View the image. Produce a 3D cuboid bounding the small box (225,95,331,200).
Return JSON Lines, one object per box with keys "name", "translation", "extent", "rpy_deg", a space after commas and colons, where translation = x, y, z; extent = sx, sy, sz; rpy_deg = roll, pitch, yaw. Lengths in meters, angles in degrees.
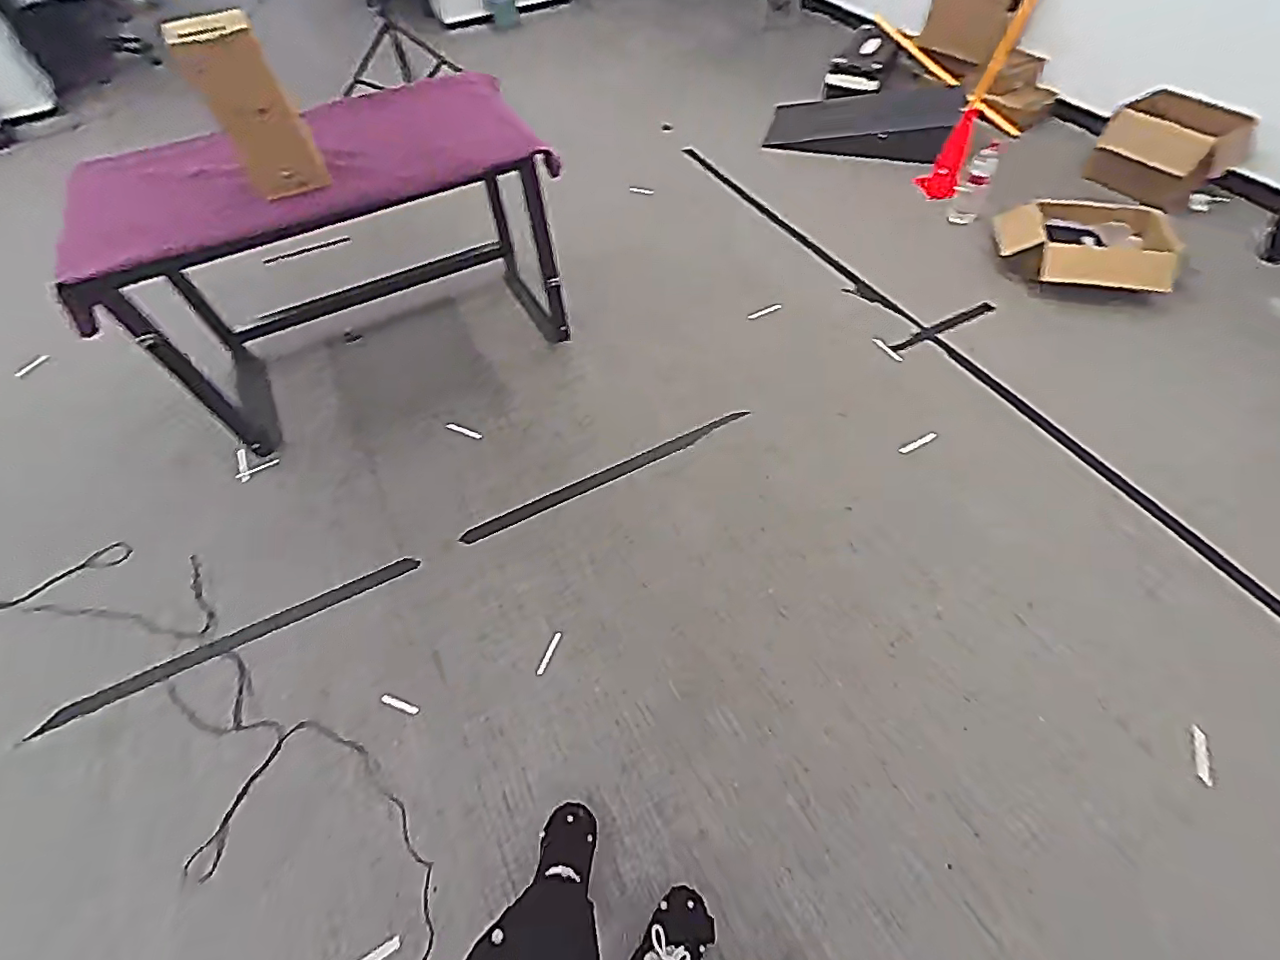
{"name": "small box", "translation": [-0.933, -0.859, 1.401], "extent": [0.168, 0.176, 0.179], "rpy_deg": [-23, 57, -12]}
